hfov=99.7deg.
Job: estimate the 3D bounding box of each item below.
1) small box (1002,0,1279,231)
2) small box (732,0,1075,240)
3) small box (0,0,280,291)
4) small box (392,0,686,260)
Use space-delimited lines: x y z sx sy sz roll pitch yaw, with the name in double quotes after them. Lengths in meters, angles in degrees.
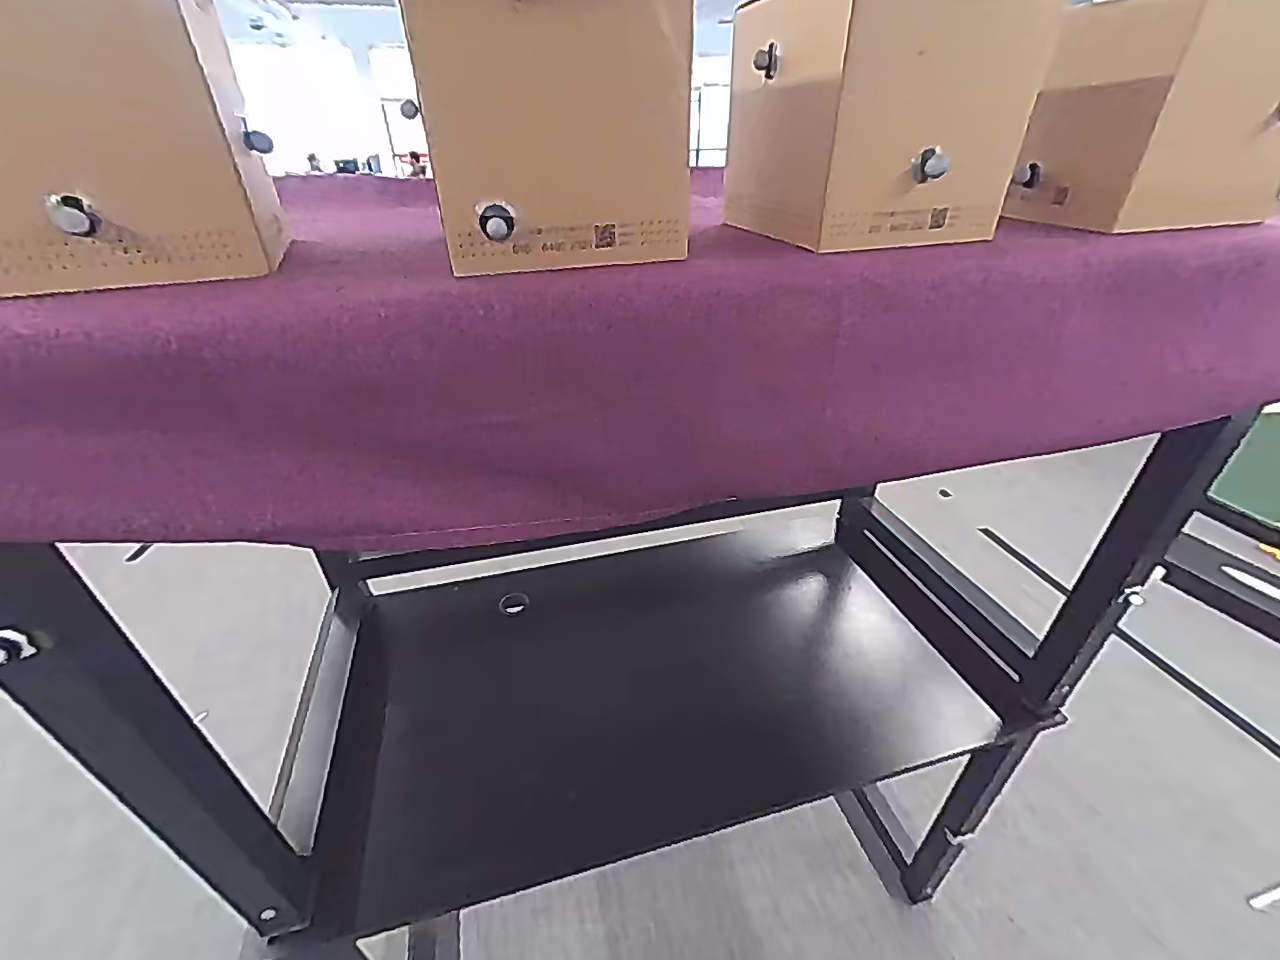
0.460 -0.328 0.482 0.179 0.176 0.168 -8 33 -10 "small box"
0.184 -0.295 0.435 0.168 0.176 0.179 -10 34 -13 "small box"
-0.353 -0.225 0.338 0.179 0.176 0.168 -14 35 -21 "small box"
-0.069 -0.257 0.384 0.168 0.176 0.179 -10 33 -14 "small box"
